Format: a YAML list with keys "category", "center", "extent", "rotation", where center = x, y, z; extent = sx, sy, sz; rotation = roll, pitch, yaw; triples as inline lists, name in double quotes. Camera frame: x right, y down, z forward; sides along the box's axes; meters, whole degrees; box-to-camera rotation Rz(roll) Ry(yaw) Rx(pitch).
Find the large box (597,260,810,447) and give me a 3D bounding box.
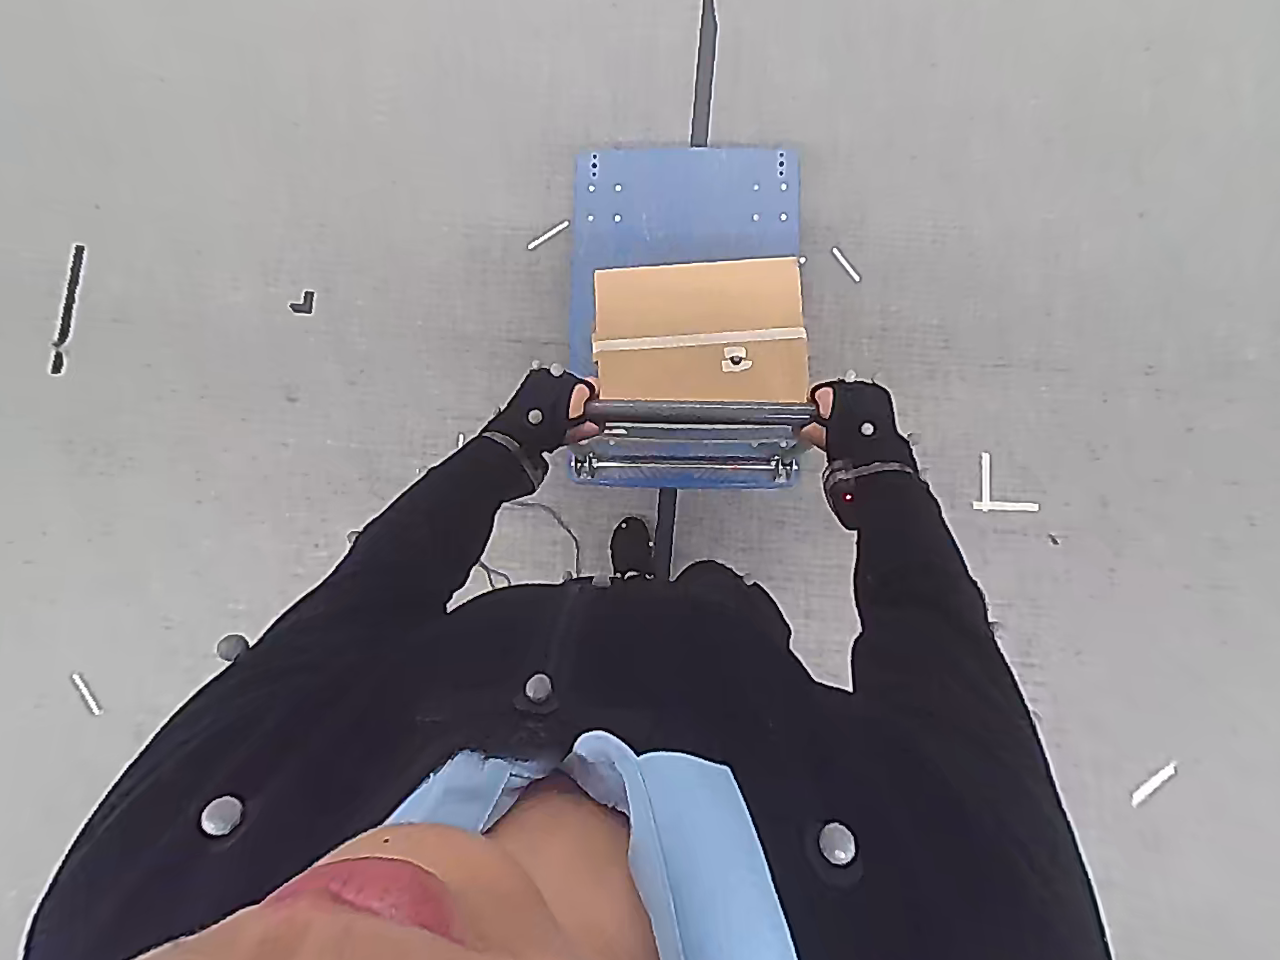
- category: "large box"
  center: [0.125, -0.259, 1.210]
  extent: [0.408, 0.320, 0.320]
  rotation: [-3, 86, 2]
